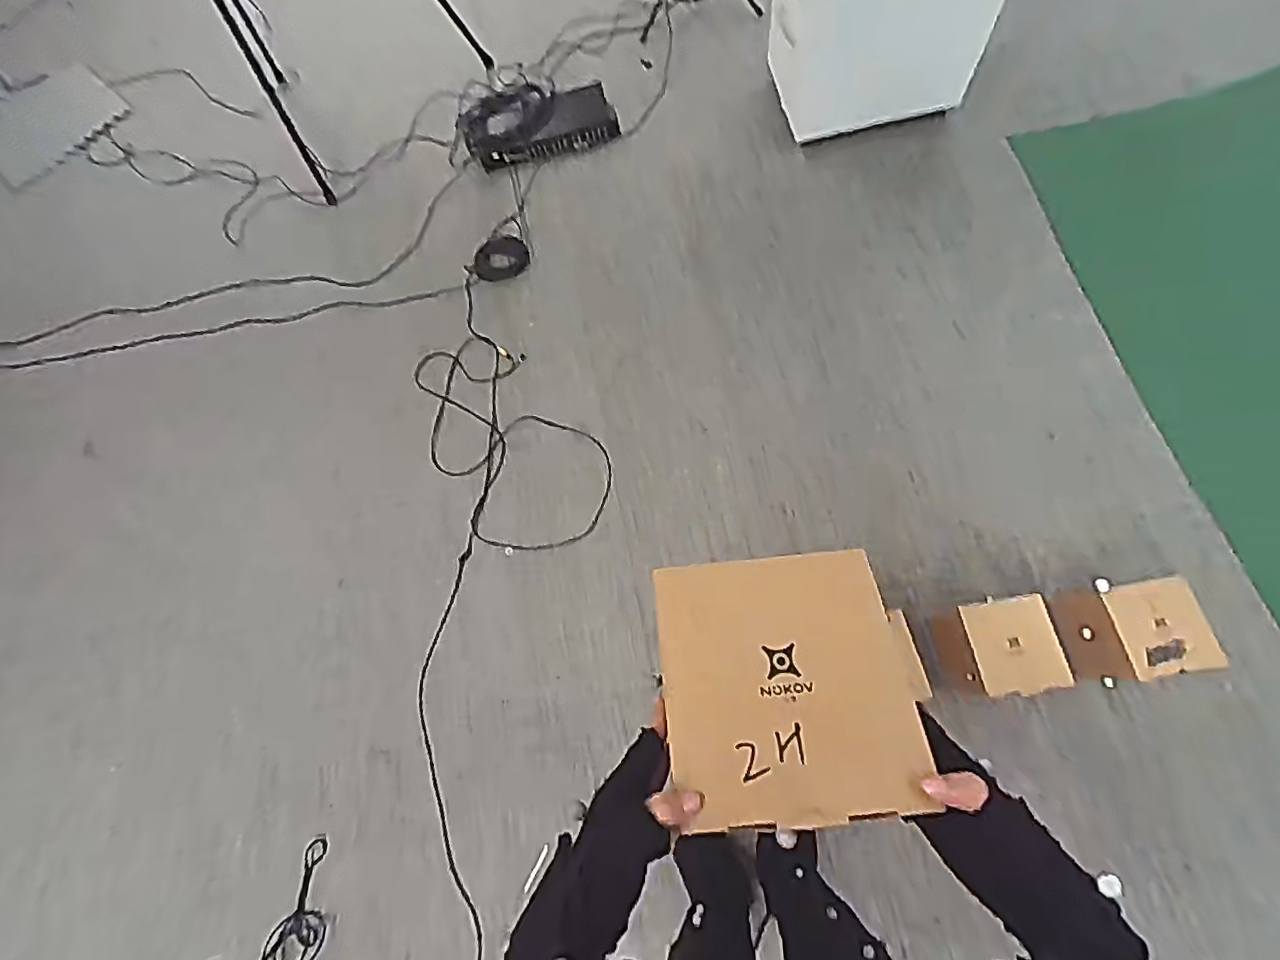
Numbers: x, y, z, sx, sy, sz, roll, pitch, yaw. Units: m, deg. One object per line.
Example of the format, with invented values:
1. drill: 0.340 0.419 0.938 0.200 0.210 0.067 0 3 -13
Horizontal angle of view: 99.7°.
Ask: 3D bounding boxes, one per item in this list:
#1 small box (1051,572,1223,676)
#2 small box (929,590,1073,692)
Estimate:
1. small box: 1.008 0.301 1.117 0.168 0.176 0.179 -11 70 3
2. small box: 0.742 0.341 1.138 0.168 0.176 0.179 -10 71 3
